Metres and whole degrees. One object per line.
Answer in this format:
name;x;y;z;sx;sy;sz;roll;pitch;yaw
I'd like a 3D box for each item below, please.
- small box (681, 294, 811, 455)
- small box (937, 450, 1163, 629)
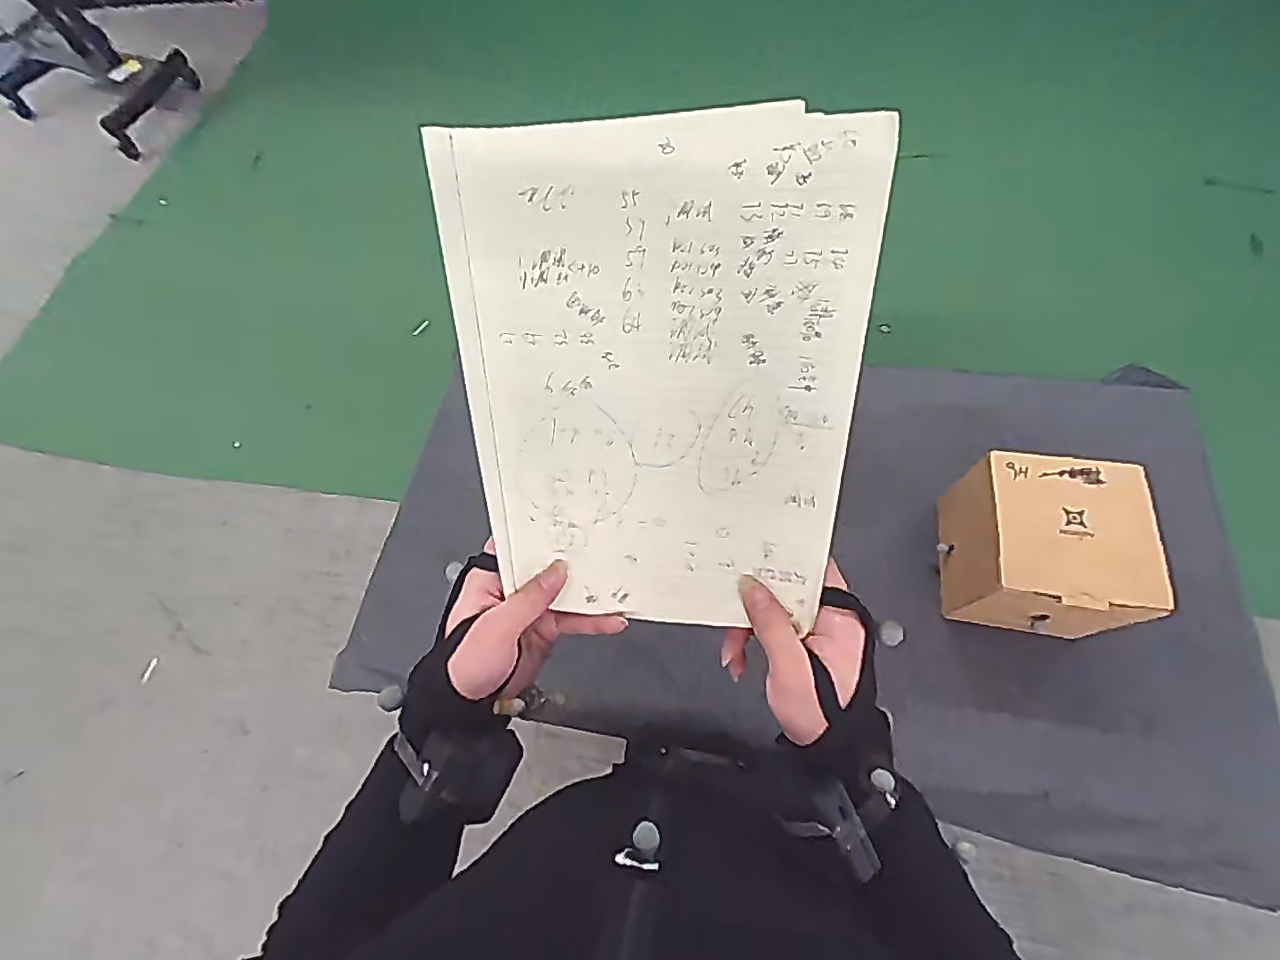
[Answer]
small box;0.157;-0.153;0.816;0.168;0.176;0.179;6;66;8
small box;0.495;0.083;0.685;0.168;0.176;0.179;7;68;9
